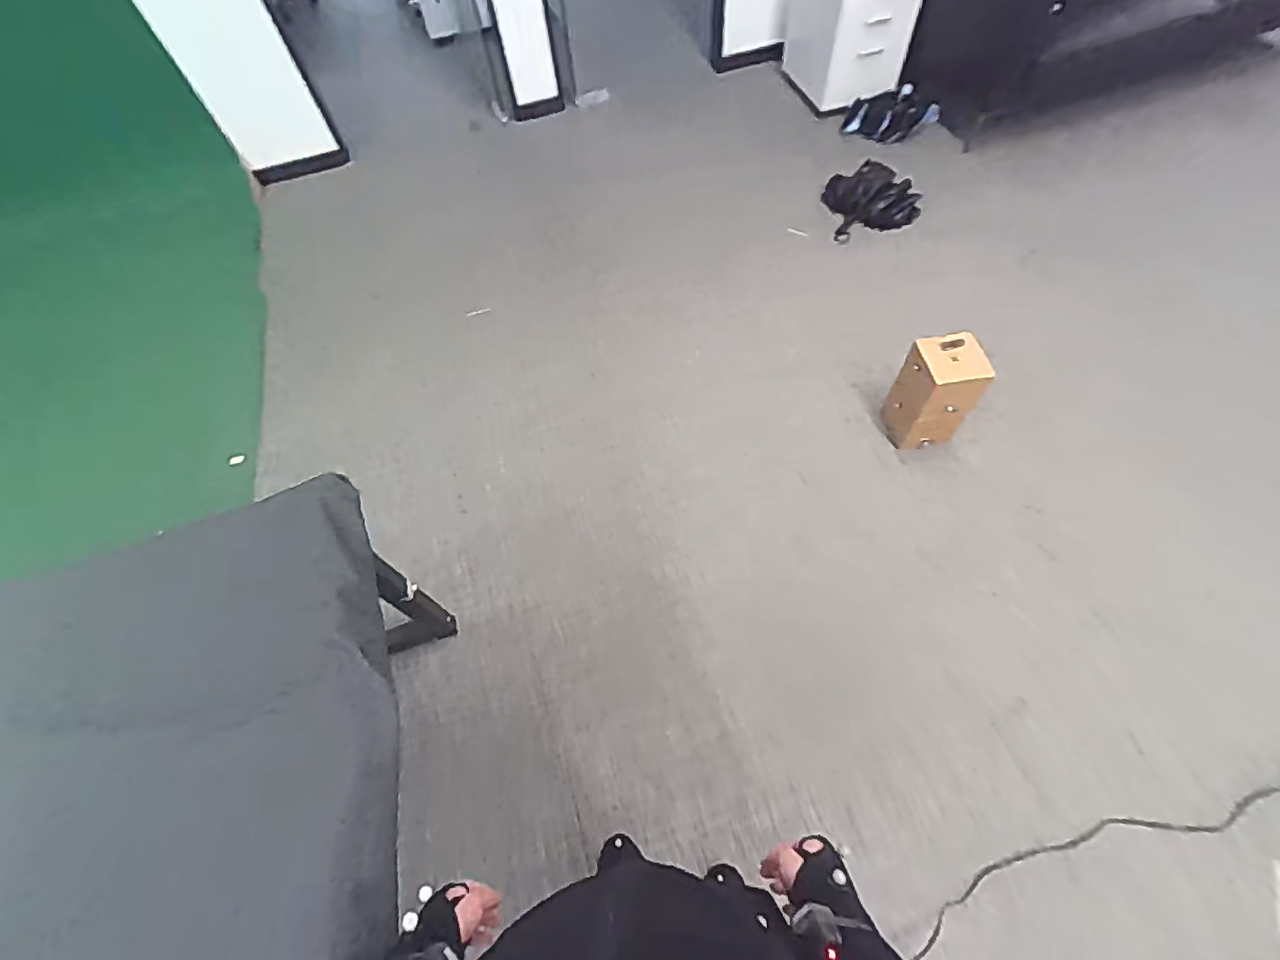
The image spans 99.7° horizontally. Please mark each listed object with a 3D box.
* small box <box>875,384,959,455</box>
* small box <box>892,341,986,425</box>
[{"bbox_3d":[0.895,-0.204,1.767,0.168,0.176,0.179,-8,60,0],"label":"small box"},{"bbox_3d":[0.887,-0.288,1.625,0.168,0.176,0.179,-7,60,1],"label":"small box"}]
